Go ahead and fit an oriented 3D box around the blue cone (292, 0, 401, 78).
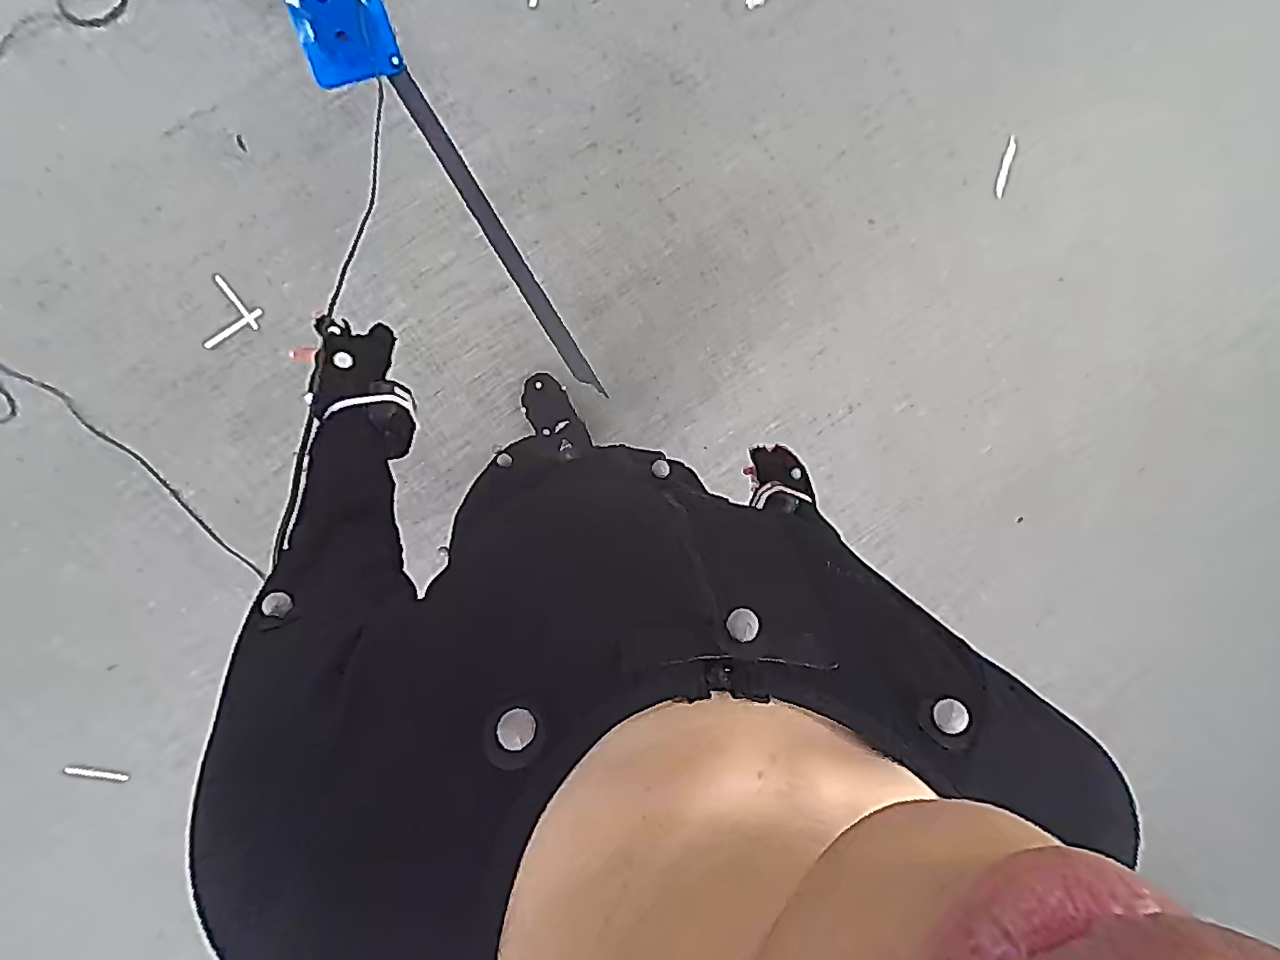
[{"bbox_3d":[-0.626,-0.979,1.042,0.192,0.380,0.193,-17,102,-8],"label":"blue cone"}]
